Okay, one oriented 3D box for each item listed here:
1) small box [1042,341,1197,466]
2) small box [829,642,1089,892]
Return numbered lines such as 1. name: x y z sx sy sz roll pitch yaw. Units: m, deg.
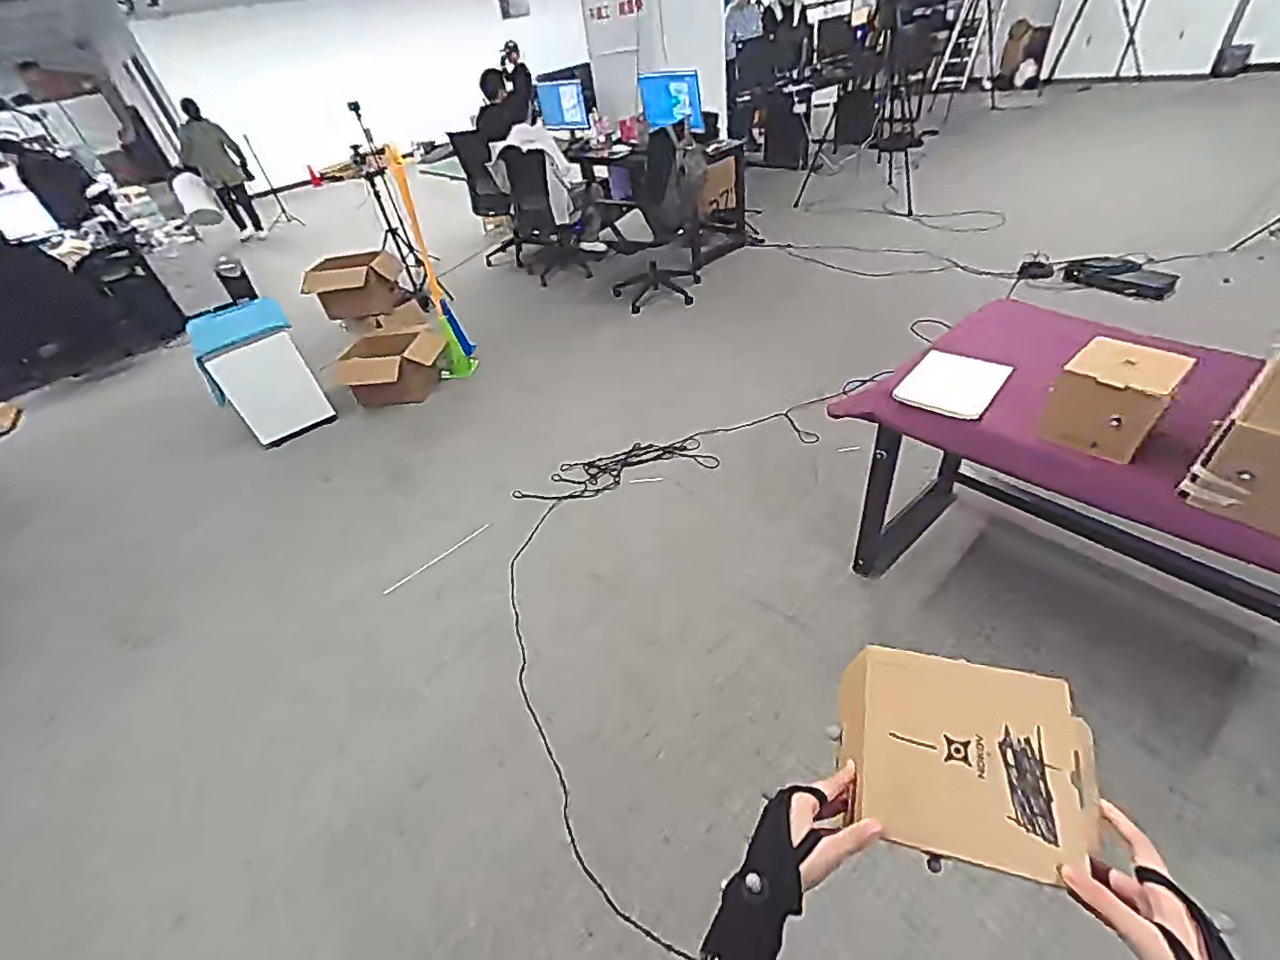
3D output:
1. small box: 0.960 -0.155 1.099 0.179 0.176 0.168 -32 45 -25
2. small box: 0.300 0.281 0.548 0.179 0.176 0.168 8 61 15
